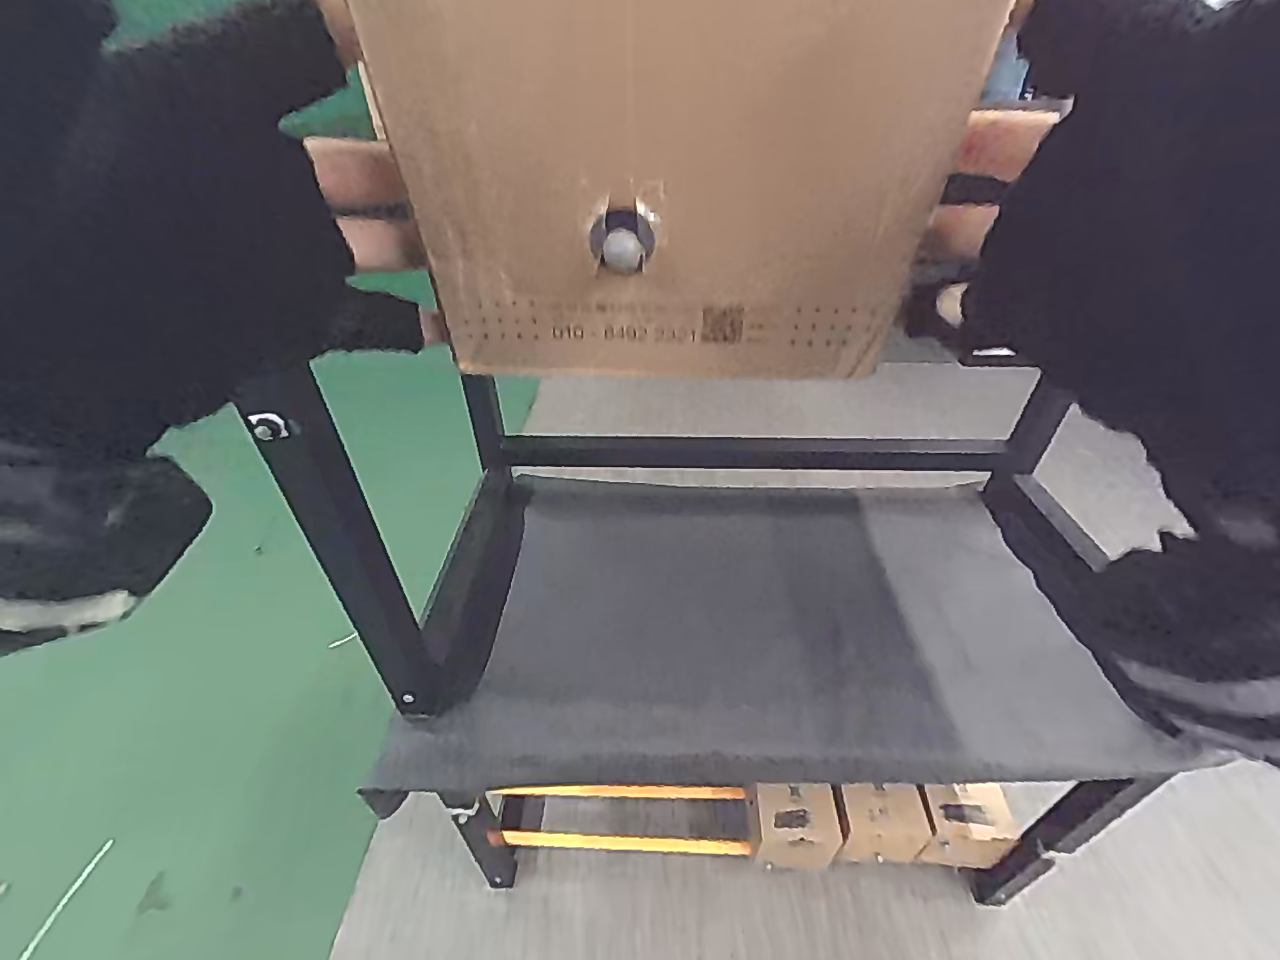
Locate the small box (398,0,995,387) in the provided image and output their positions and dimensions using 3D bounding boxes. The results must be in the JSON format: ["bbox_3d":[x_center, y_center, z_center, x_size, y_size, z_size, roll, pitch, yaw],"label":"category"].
[{"bbox_3d":[0.014,-0.160,0.226,0.168,0.176,0.179,1,47,2],"label":"small box"}]
